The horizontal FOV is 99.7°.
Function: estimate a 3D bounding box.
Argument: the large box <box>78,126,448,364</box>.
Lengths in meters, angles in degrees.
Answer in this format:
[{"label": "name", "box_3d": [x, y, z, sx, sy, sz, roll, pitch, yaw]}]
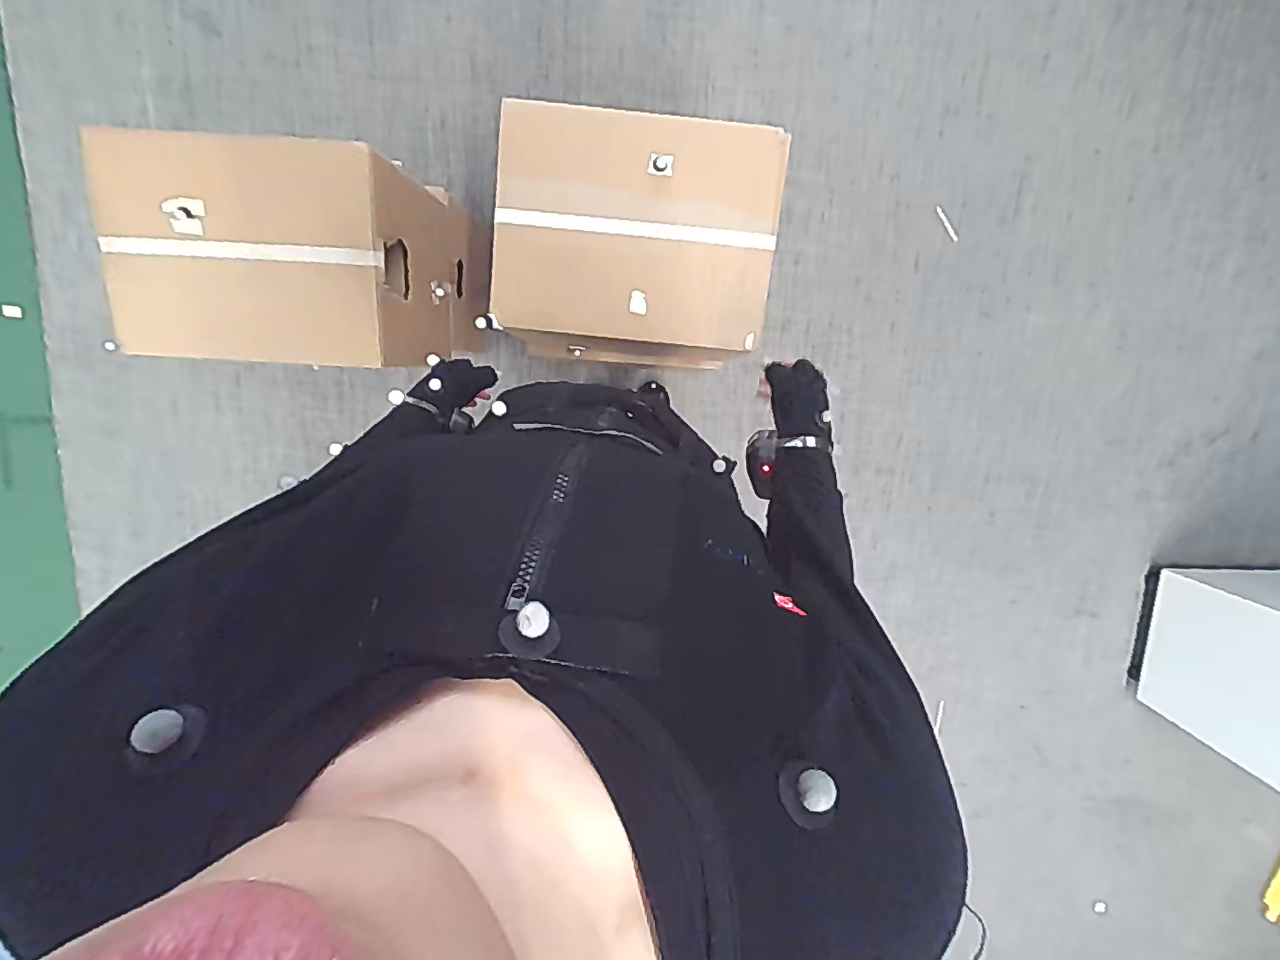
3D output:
[{"label": "large box", "box_3d": [-0.585, -0.372, 0.928, 0.408, 0.320, 0.320, 3, 103, 0]}]
